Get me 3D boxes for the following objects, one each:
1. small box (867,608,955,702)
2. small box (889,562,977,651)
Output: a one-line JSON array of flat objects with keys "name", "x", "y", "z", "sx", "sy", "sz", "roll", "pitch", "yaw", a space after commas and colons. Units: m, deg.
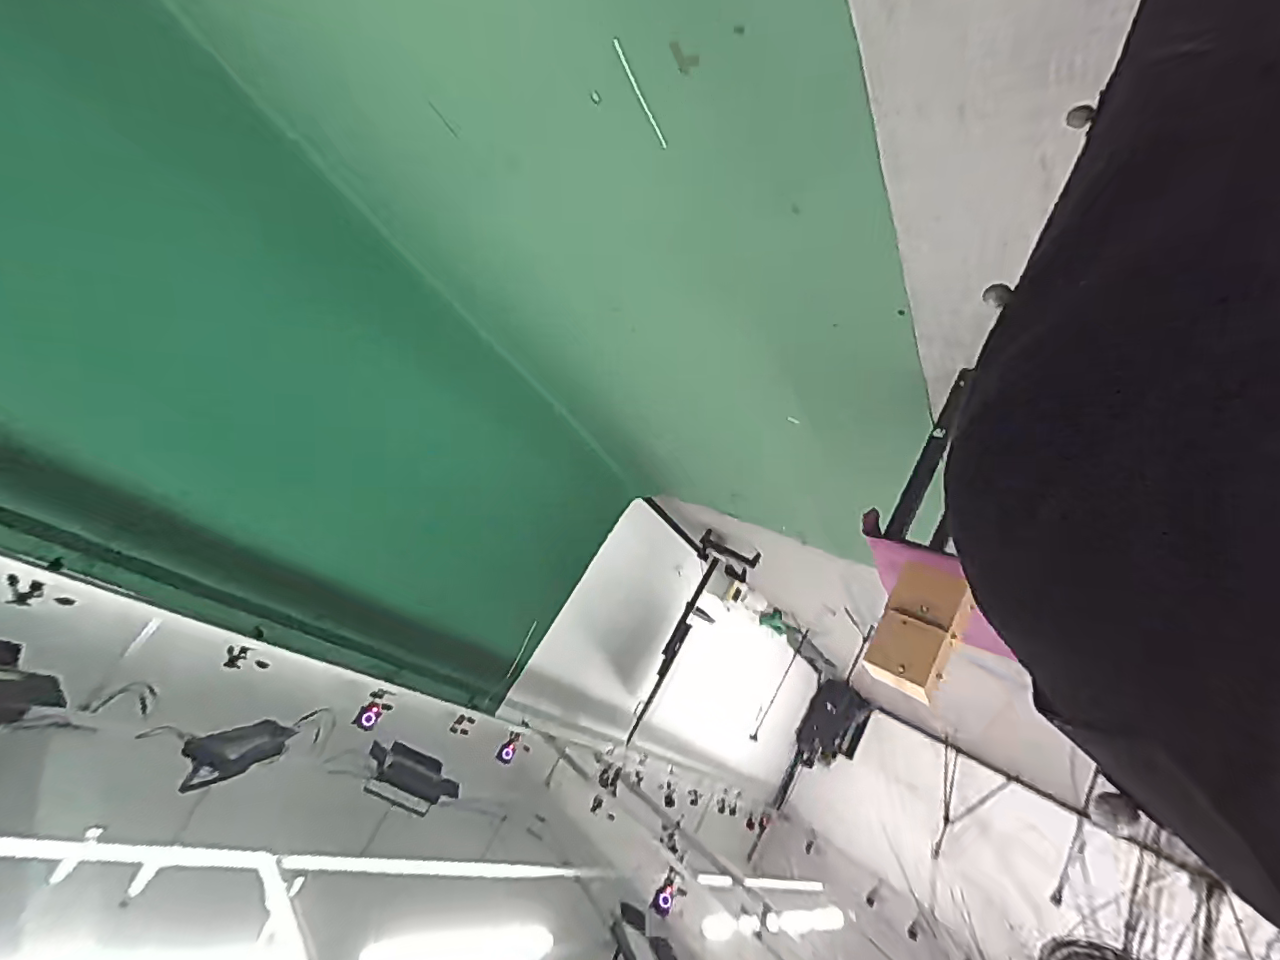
[{"name": "small box", "x": 0.760, "y": 0.485, "z": 1.506, "sx": 0.168, "sy": 0.176, "sz": 0.179, "roll": 18, "pitch": 160, "yaw": 41}, {"name": "small box", "x": 0.853, "y": 0.360, "z": 1.561, "sx": 0.179, "sy": 0.176, "sz": 0.168, "roll": 18, "pitch": 159, "yaw": 44}]
